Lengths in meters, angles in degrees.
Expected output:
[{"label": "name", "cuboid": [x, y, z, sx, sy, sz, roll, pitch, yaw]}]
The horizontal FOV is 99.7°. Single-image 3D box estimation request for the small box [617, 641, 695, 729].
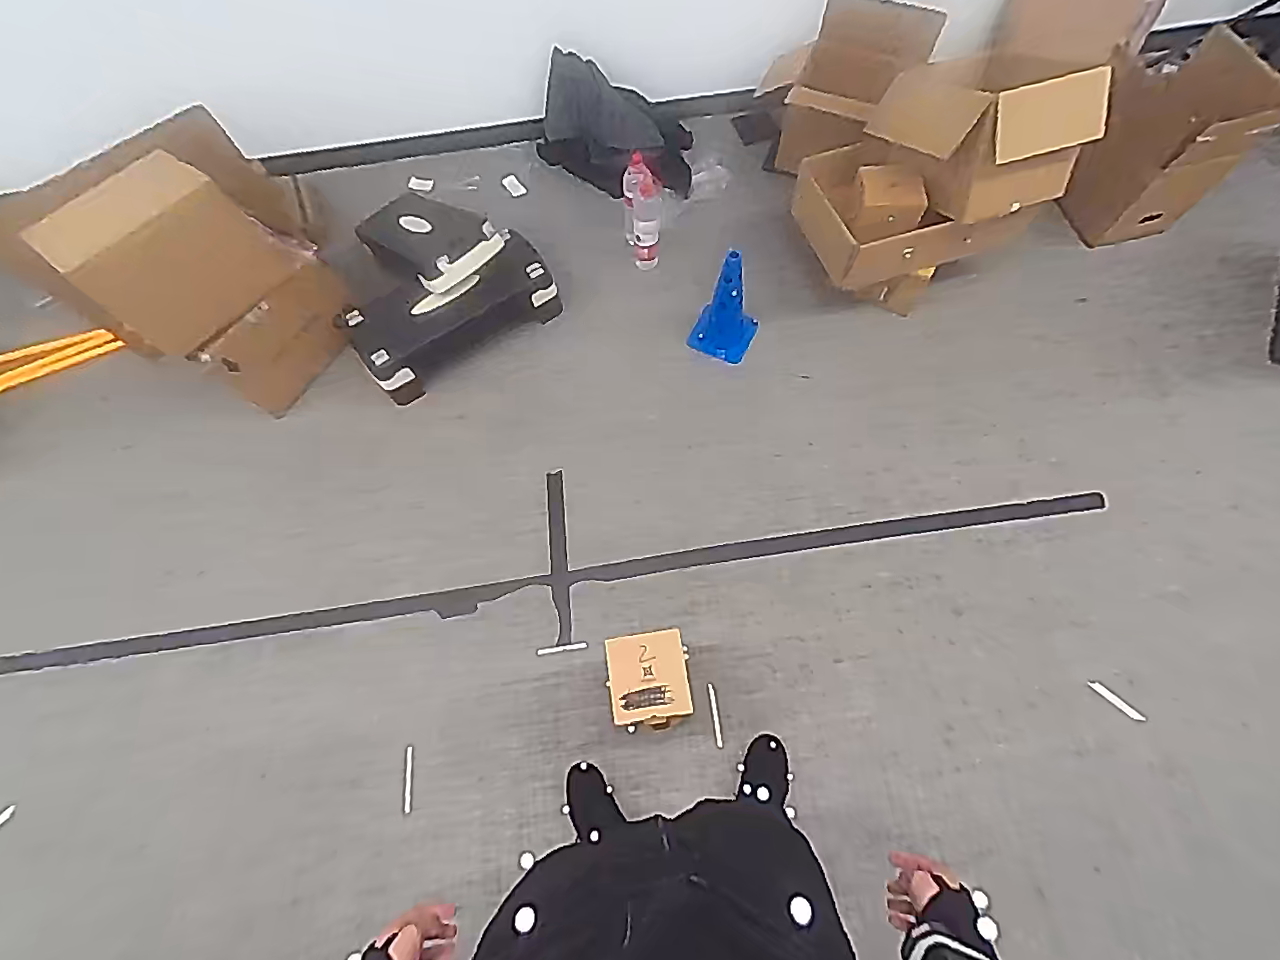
[{"label": "small box", "cuboid": [0.039, 0.518, 1.363, 0.168, 0.176, 0.179, -10, 67, -1]}]
